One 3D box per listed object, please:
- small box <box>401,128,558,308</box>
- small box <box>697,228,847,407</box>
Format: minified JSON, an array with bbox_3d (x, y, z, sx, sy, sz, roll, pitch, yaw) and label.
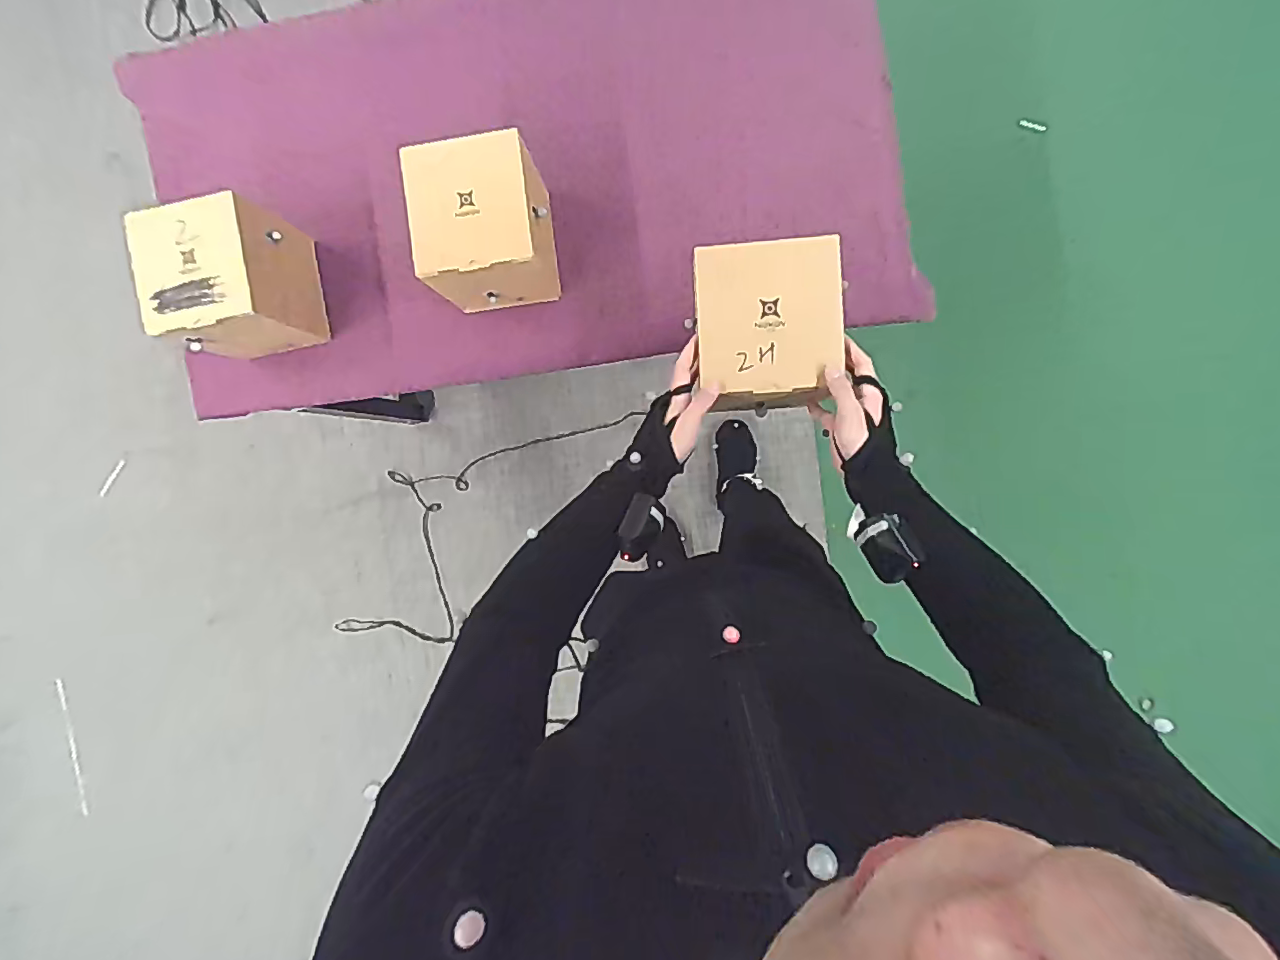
[{"bbox_3d":[-0.224,-0.372,0.796,0.168,0.176,0.179,-7,92,4],"label":"small box"},{"bbox_3d":[0.159,-0.196,0.697,0.168,0.176,0.179,-2,90,7],"label":"small box"}]
